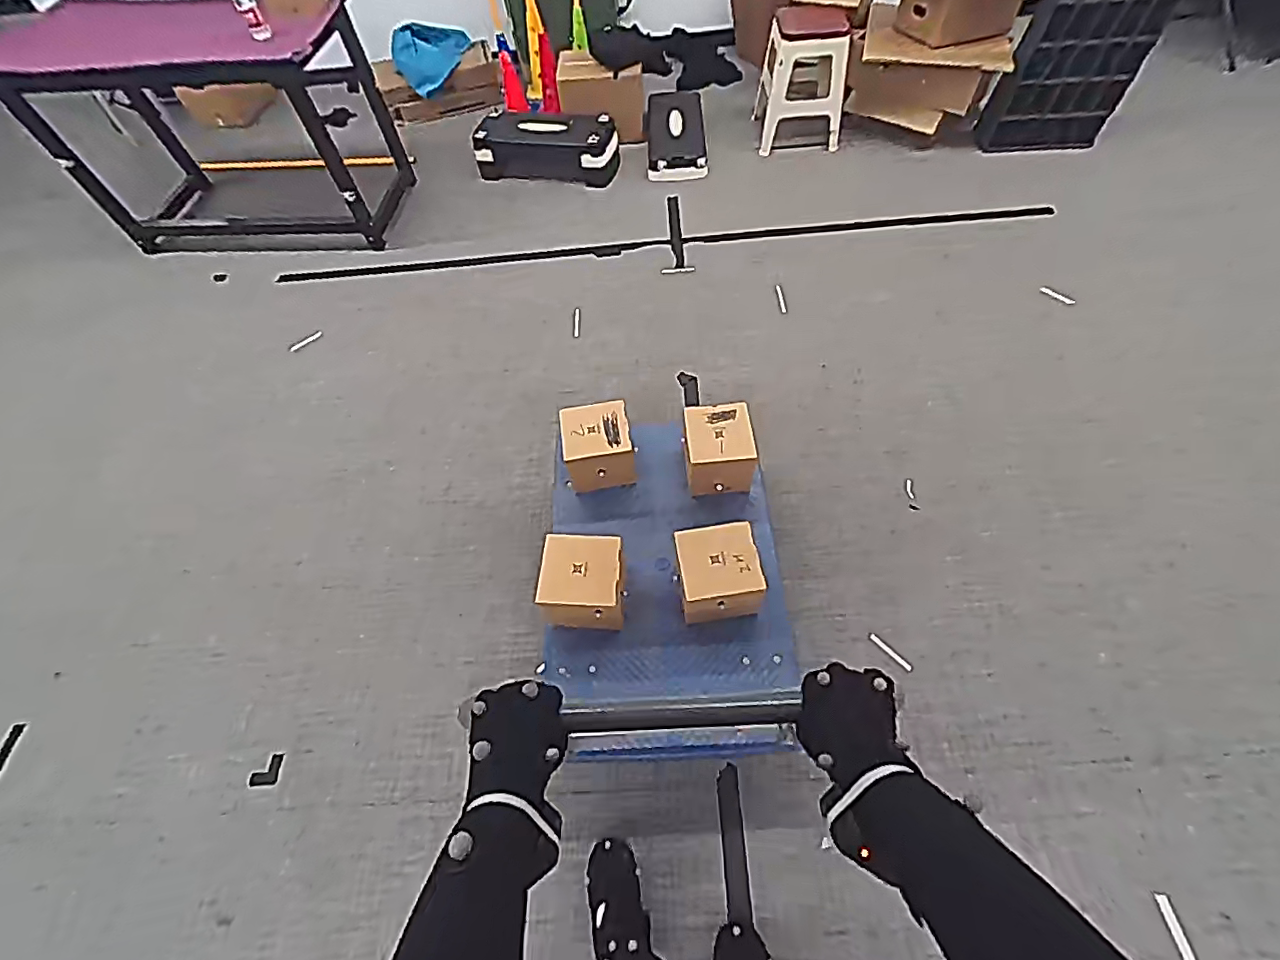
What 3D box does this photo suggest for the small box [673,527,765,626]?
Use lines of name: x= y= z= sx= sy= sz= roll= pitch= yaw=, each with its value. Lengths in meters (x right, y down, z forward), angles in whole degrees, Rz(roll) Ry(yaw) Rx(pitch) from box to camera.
small box: x=0.177 y=0.228 z=1.254 sx=0.179 sy=0.176 sz=0.168 roll=-8 pitch=59 yaw=-1

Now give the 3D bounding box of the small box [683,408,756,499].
small box: x=0.203 y=-0.067 z=1.431 sx=0.168 sy=0.176 sz=0.179 roll=-5 pitch=60 yaw=1

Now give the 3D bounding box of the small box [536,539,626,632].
small box: x=-0.129 y=0.250 z=1.263 sx=0.179 sy=0.176 sz=0.168 roll=2 pitch=58 yaw=3
